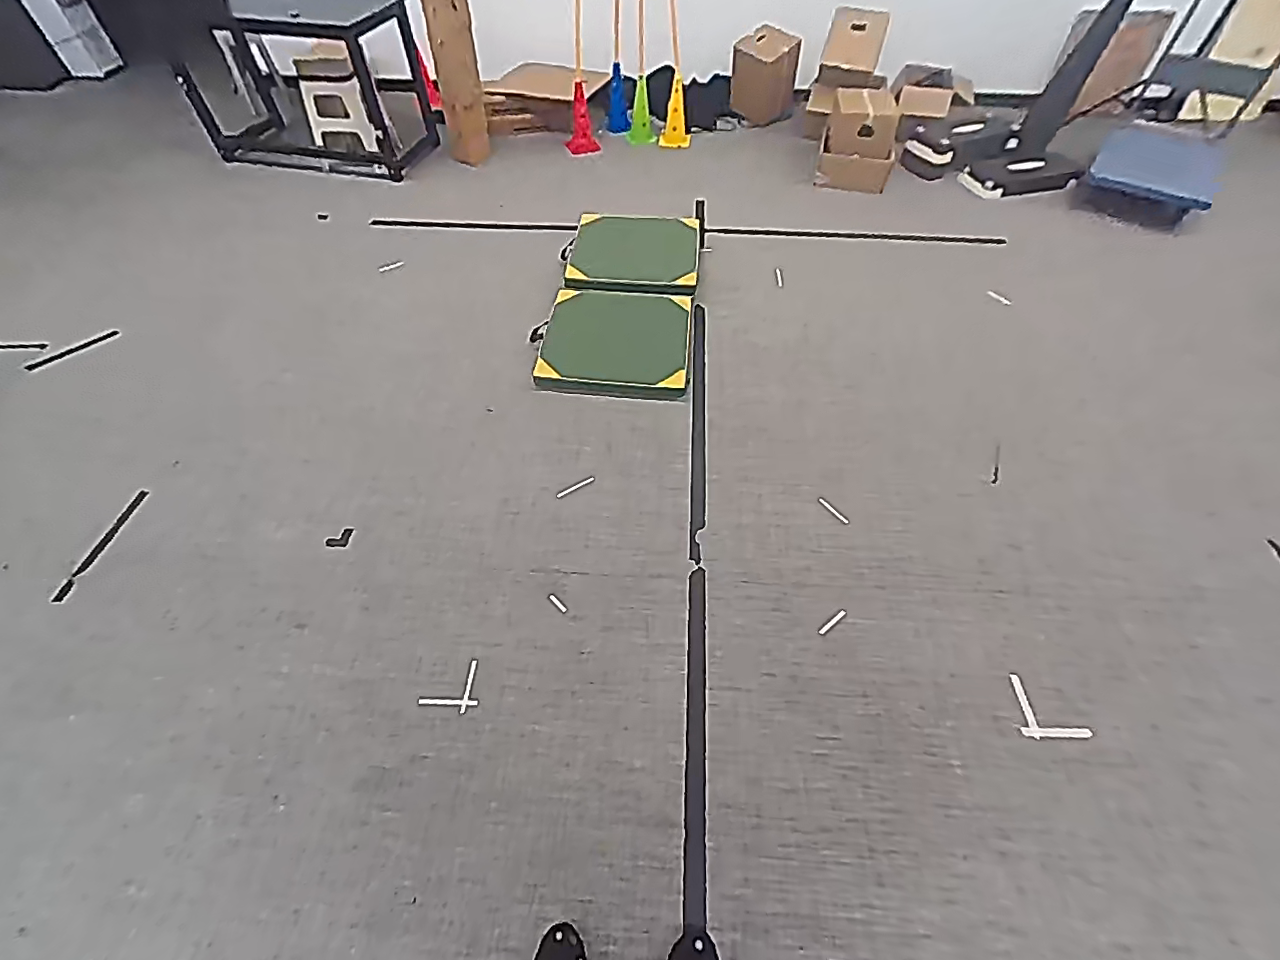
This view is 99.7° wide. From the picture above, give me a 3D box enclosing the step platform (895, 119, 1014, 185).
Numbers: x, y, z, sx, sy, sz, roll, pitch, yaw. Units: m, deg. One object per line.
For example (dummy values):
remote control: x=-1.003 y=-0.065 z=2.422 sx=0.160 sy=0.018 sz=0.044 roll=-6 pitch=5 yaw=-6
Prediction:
step platform: x=1.942 y=-2.028 z=3.332 sx=0.684 sy=0.204 sz=0.286 roll=-20 pitch=56 yaw=-15
